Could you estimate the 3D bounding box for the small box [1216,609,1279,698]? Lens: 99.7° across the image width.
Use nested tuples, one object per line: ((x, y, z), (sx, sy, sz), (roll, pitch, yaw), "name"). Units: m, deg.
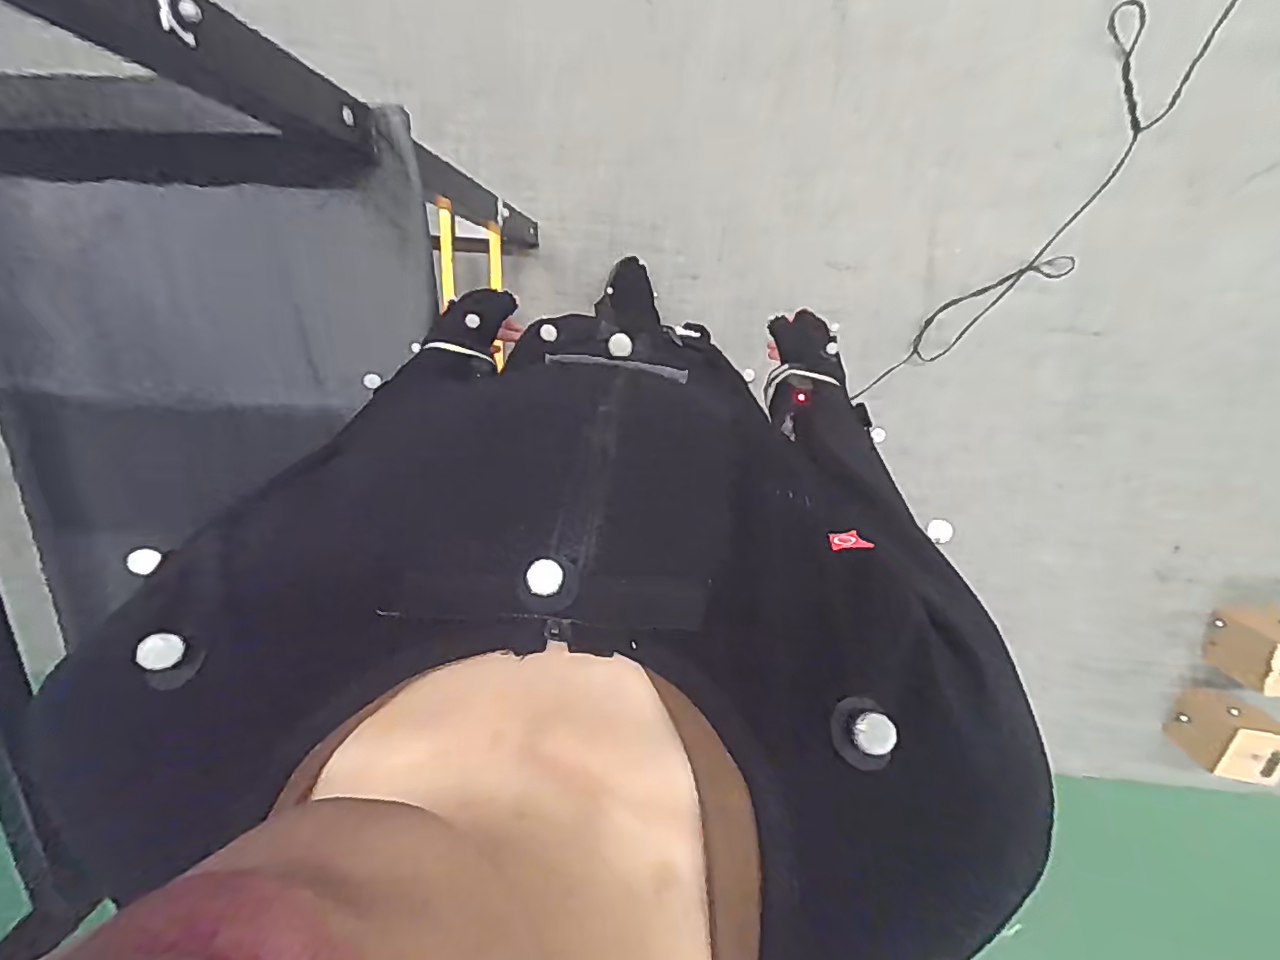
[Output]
((1.704, 0.454, 1.432), (0.179, 0.176, 0.168), (-3, 107, 4), "small box")
